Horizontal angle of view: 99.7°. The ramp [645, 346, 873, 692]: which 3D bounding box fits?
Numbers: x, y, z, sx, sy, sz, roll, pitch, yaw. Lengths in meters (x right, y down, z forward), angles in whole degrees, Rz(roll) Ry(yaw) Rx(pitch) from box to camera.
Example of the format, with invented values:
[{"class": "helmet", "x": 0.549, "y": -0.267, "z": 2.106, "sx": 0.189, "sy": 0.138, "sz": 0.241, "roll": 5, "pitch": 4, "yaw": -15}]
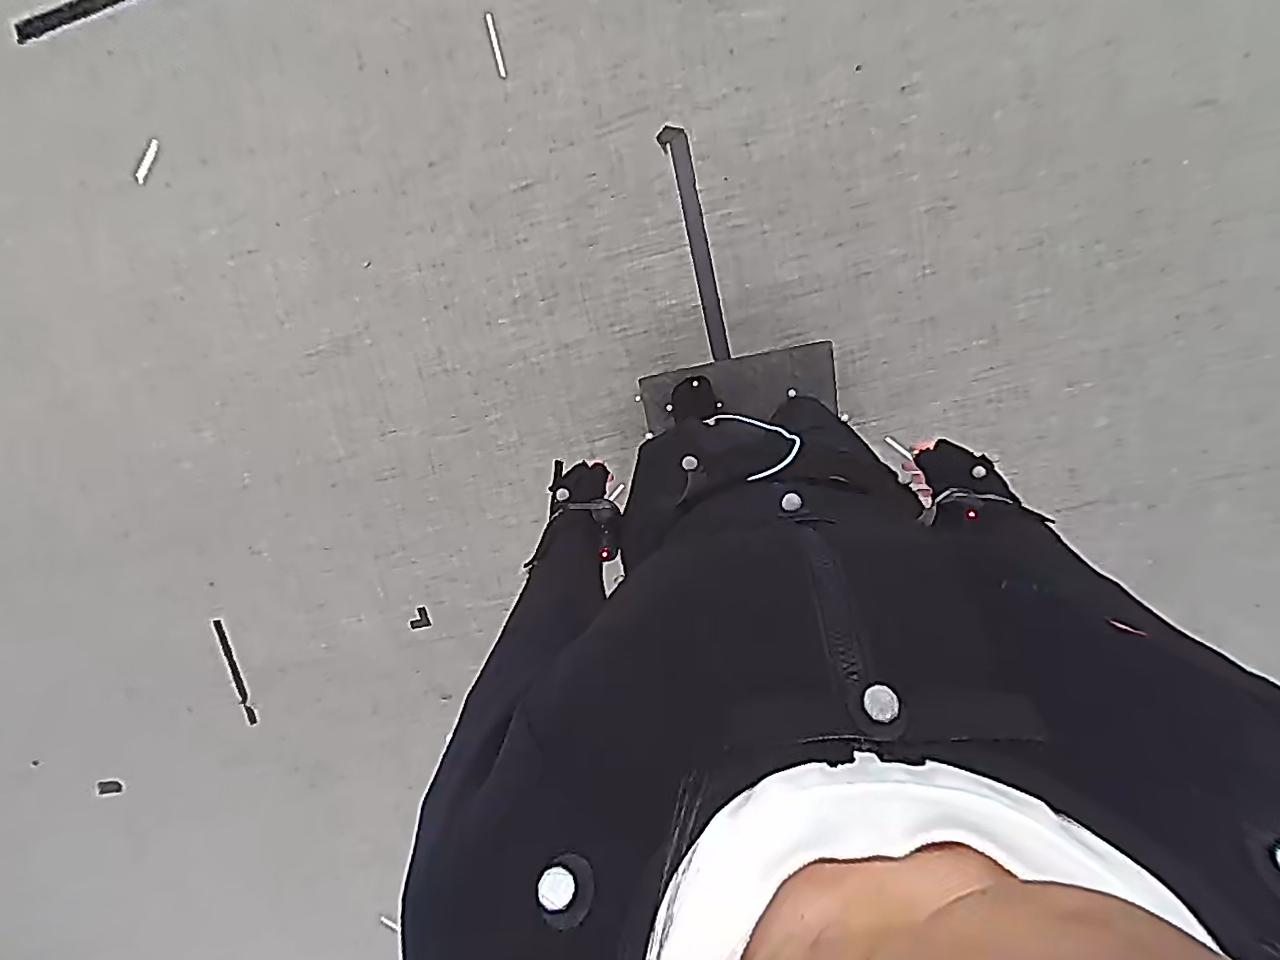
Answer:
[{"class": "ramp", "x": 0.364, "y": 0.167, "z": 1.527, "sx": 0.509, "sy": 0.206, "sz": 0.991, "roll": -14, "pitch": 99, "yaw": 7}]
